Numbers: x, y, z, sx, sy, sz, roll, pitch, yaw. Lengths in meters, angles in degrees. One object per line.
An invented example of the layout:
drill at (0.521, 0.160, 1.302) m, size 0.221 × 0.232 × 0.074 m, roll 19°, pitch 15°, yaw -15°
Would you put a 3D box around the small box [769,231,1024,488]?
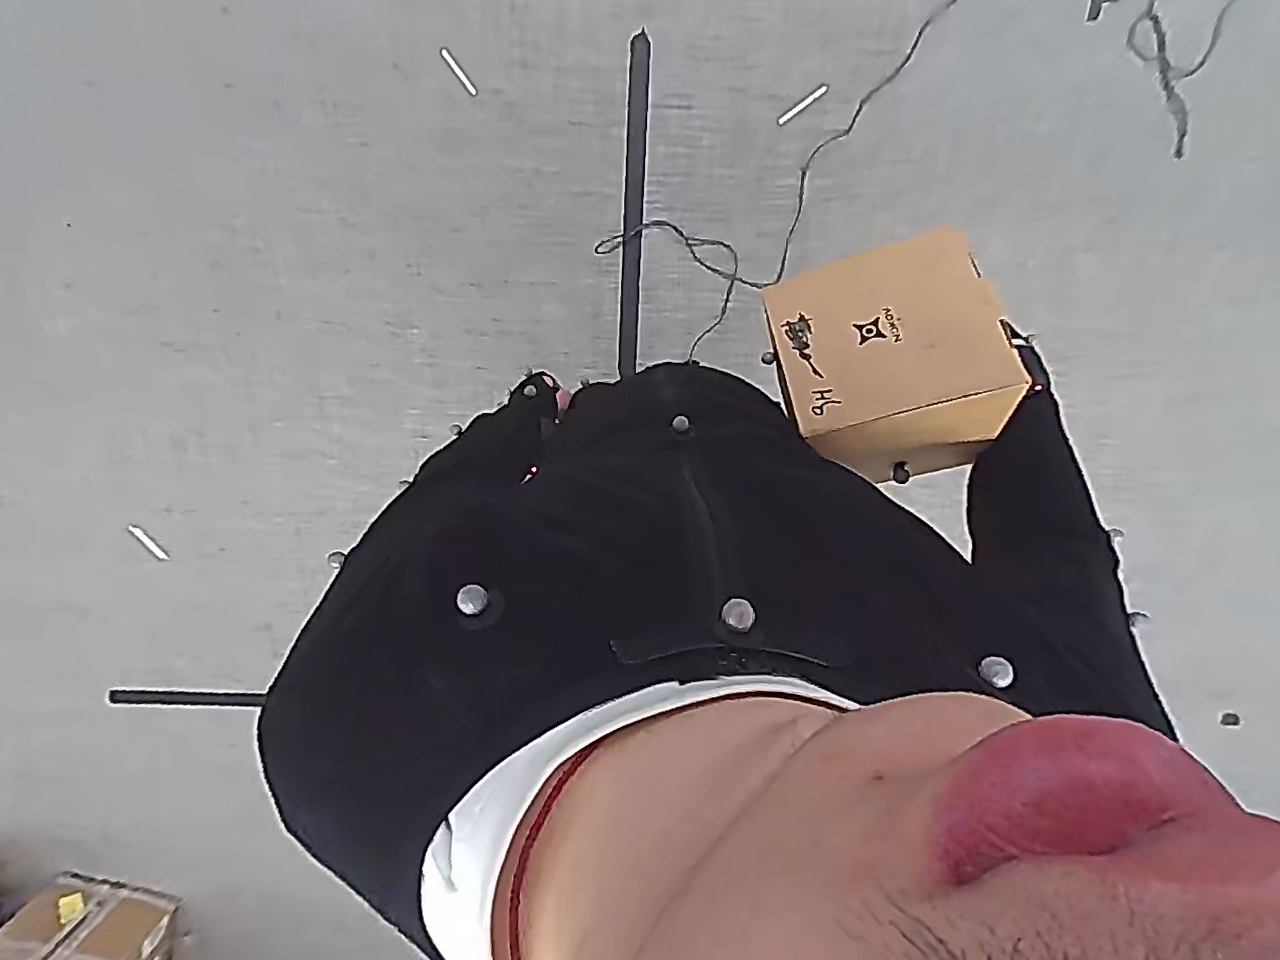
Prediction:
small box at (0.241, -0.107, 0.552) m, size 0.179 × 0.176 × 0.168 m, roll -14°, pitch 65°, yaw 15°
